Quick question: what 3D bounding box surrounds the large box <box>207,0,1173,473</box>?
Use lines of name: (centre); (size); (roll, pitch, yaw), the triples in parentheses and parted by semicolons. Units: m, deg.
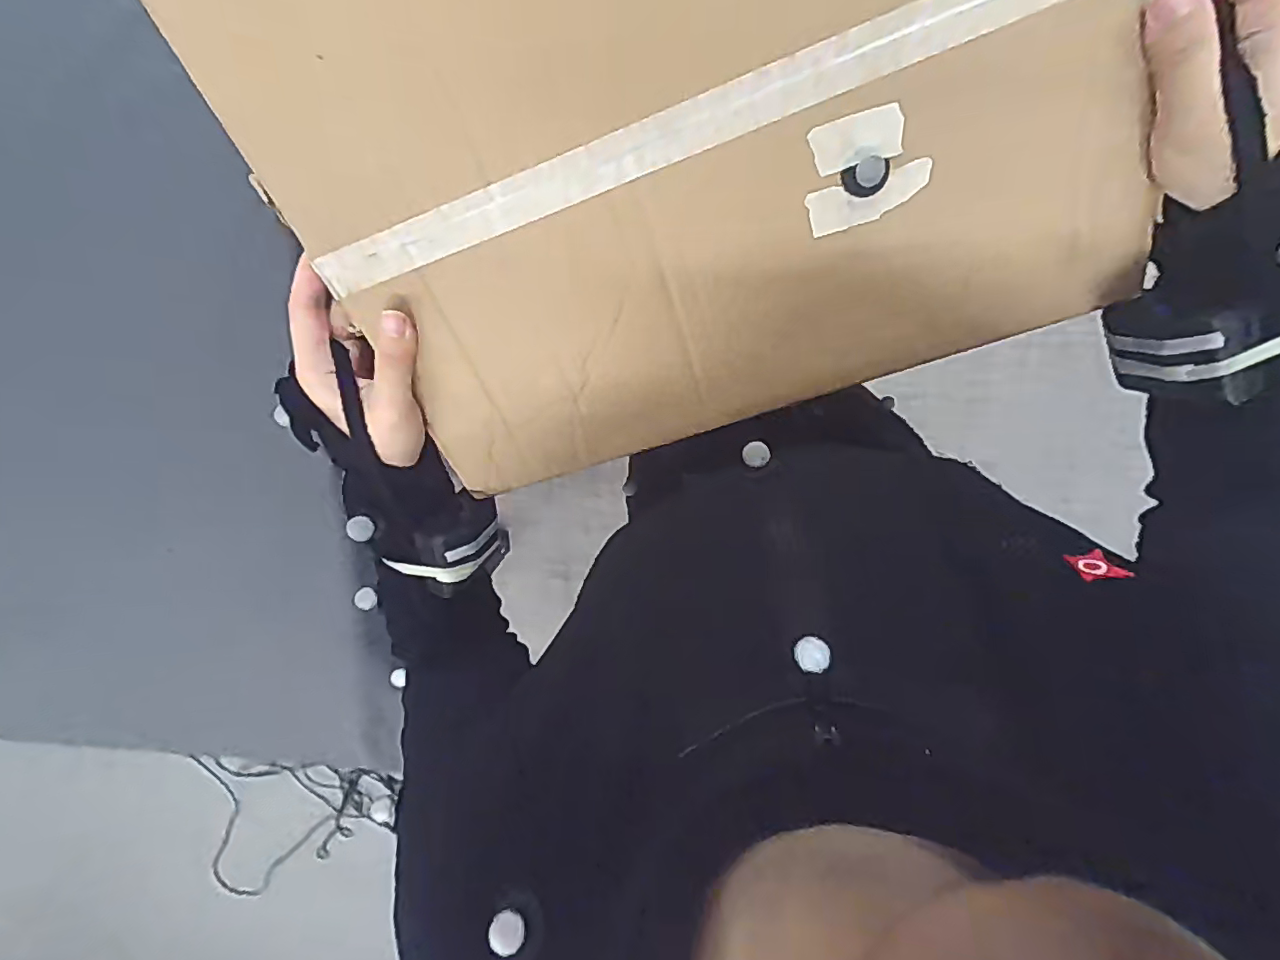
large box: (0.031, -0.262, 0.379); (0.408, 0.320, 0.320); (-17, 123, 9)
